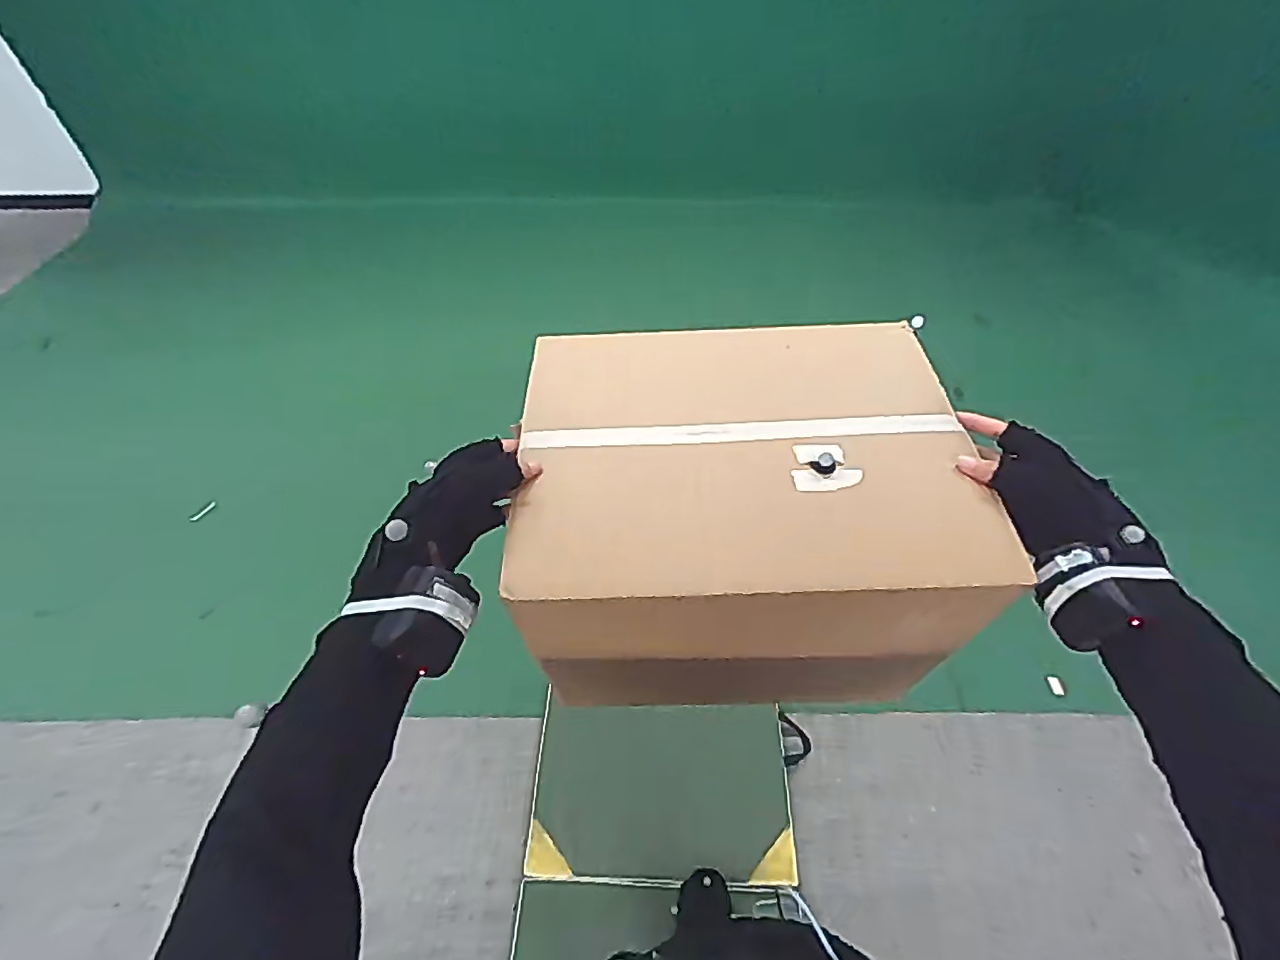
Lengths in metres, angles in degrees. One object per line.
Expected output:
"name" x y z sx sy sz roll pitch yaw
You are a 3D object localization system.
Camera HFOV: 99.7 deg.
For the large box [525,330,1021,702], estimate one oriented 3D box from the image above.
"large box" 0.103 0.052 0.633 0.408 0.320 0.320 -2 54 0
